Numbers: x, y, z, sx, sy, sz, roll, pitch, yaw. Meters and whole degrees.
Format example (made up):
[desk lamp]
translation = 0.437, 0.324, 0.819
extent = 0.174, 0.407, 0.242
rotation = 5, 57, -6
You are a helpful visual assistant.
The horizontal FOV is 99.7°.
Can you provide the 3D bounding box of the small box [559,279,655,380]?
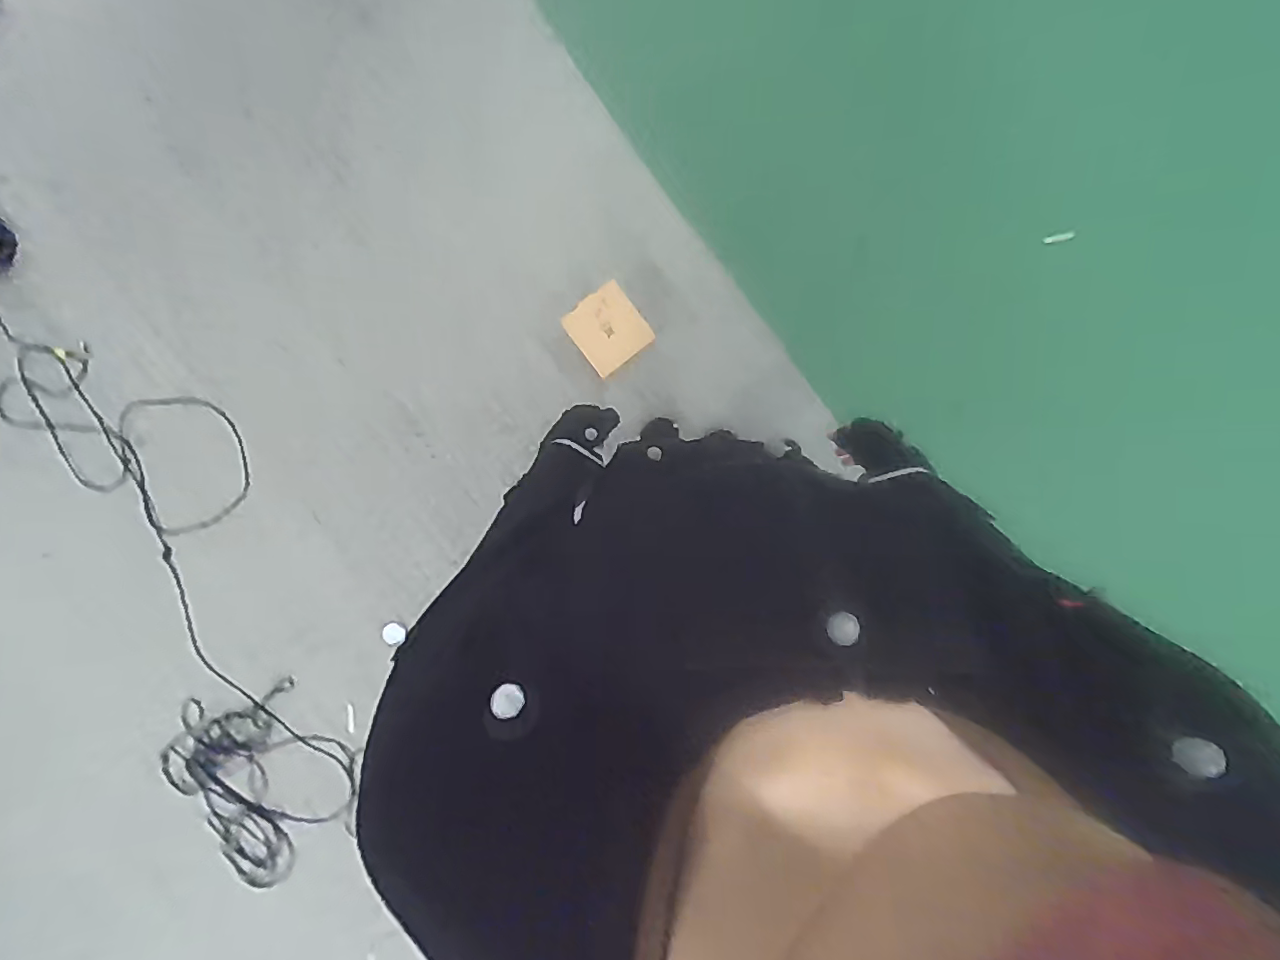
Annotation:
[small box]
translation = -0.074, -0.367, 1.355
extent = 0.168, 0.176, 0.179
rotation = -37, 94, 6
